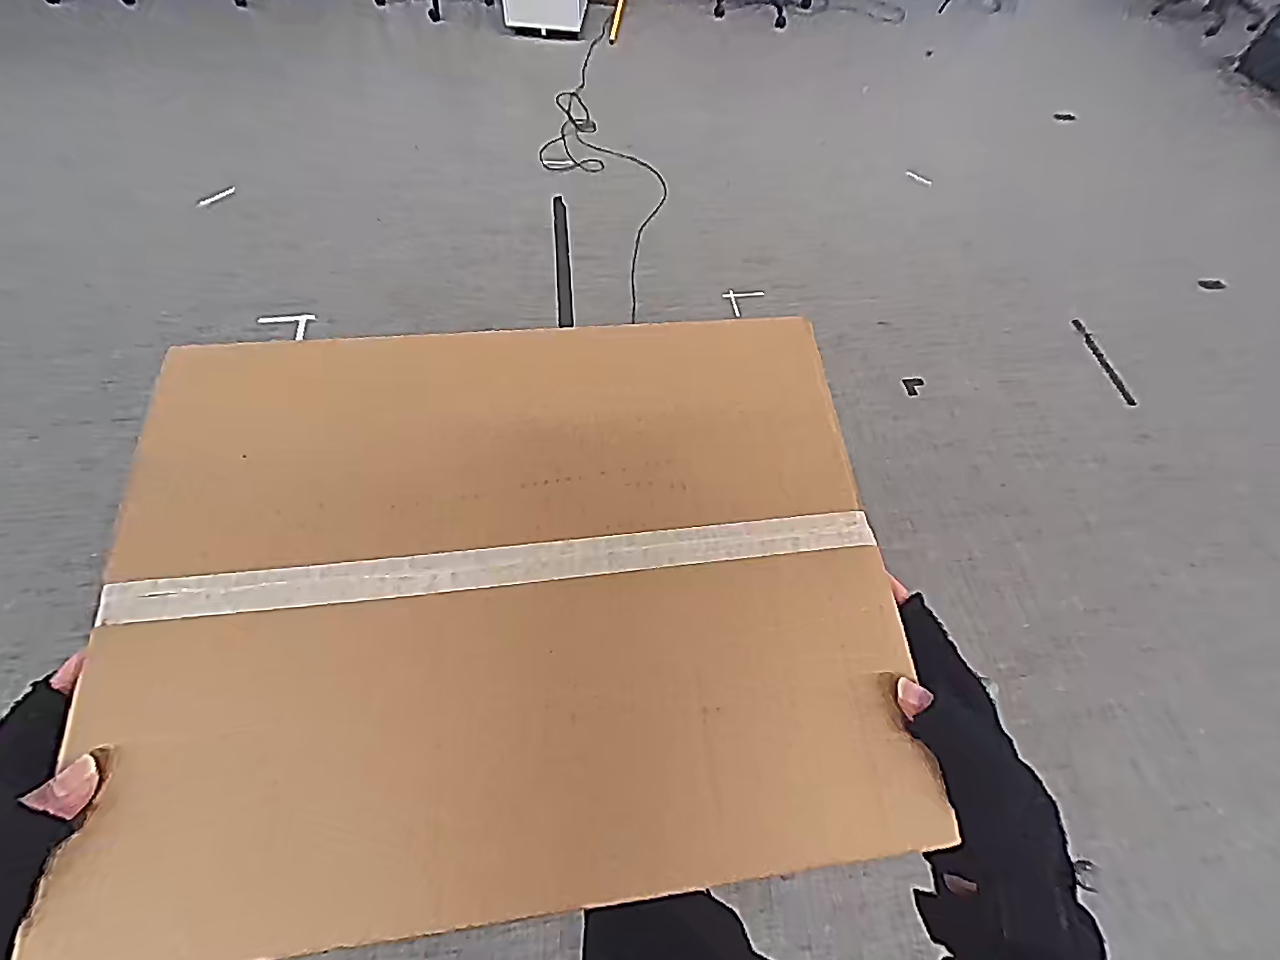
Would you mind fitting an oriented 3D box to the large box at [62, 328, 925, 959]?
[{"bbox_3d":[-0.077,0.108,0.441,0.408,0.320,0.320,-5,67,-6],"label":"large box"}]
